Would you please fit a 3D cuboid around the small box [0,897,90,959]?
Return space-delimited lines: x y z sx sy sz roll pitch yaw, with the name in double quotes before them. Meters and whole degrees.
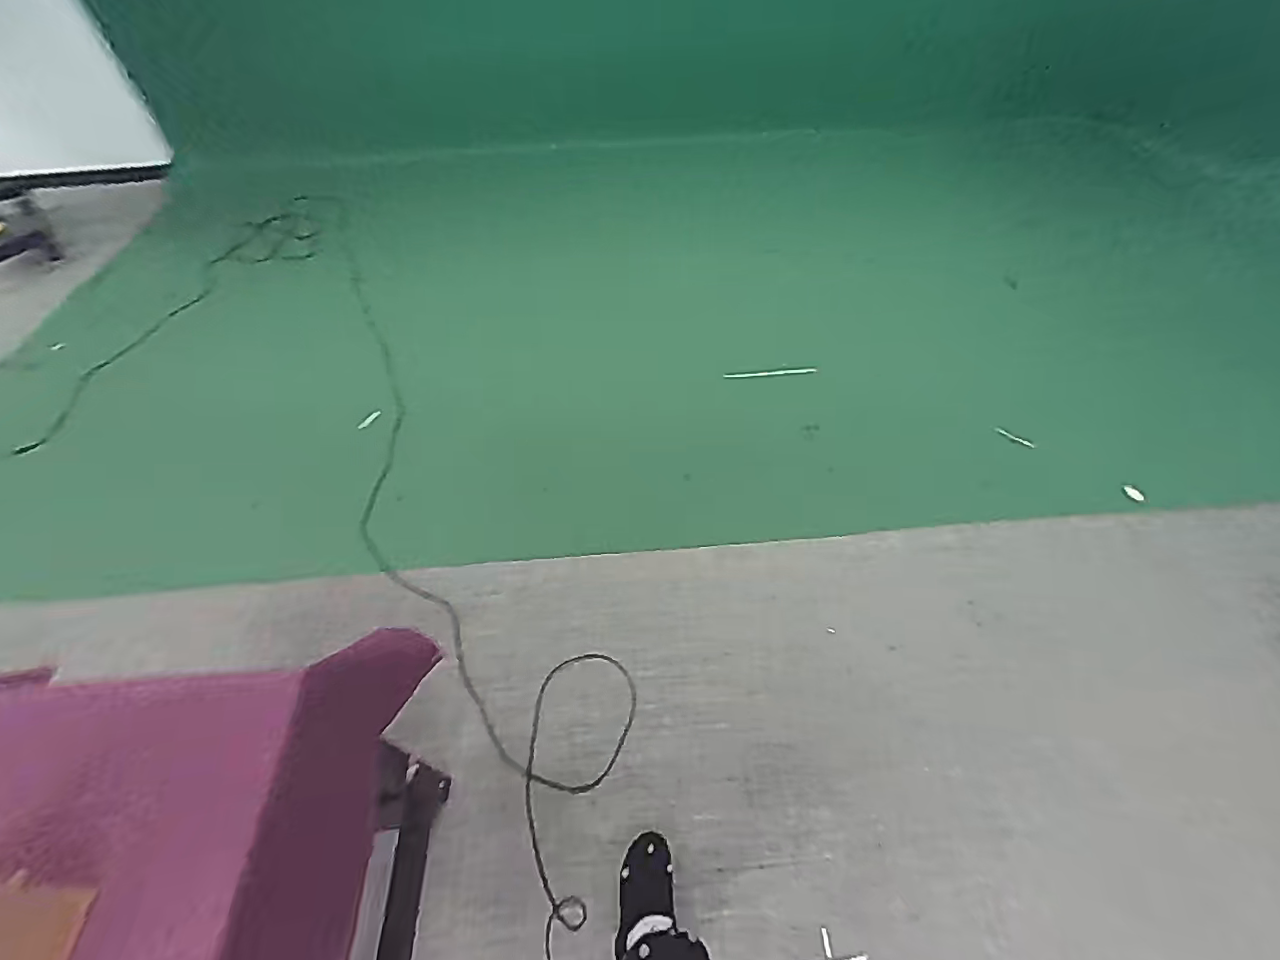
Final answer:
"small box" -0.689 0.499 0.498 0.168 0.176 0.179 -4 51 -1
